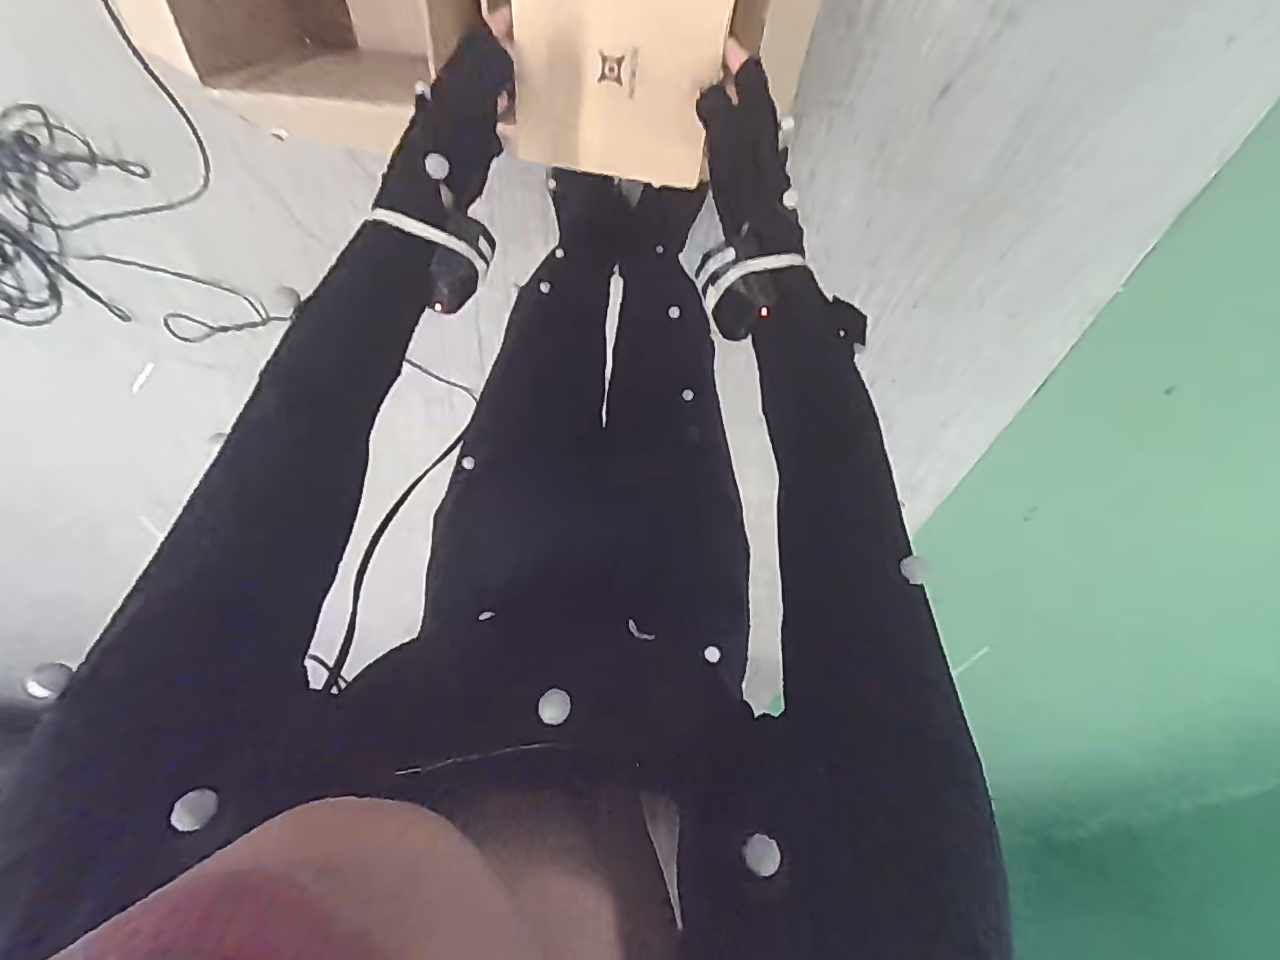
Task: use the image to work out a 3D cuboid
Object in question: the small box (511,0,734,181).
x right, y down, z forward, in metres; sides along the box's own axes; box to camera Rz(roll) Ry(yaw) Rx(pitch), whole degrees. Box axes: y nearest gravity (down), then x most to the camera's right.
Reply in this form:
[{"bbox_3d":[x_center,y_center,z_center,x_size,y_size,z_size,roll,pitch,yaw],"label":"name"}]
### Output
[{"bbox_3d":[-0.015,-0.410,0.507,0.179,0.176,0.168,6,140,-4],"label":"small box"}]
